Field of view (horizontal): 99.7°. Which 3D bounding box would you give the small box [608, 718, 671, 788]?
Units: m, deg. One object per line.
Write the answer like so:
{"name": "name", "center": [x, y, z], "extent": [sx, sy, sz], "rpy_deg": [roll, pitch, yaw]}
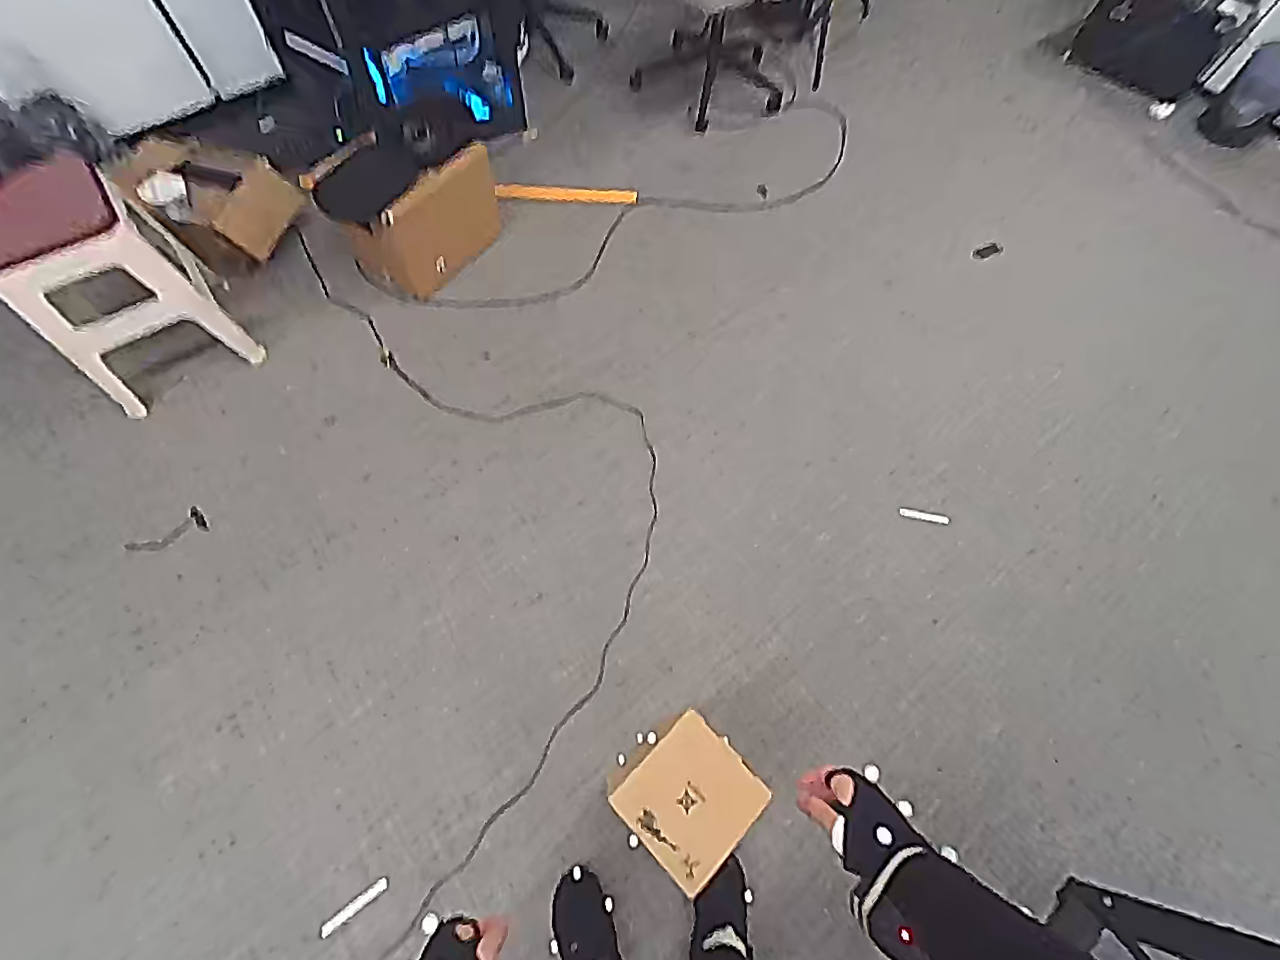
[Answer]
{"name": "small box", "center": [0.047, 0.626, 1.136], "extent": [0.179, 0.176, 0.168], "rpy_deg": [-38, 72, -18]}

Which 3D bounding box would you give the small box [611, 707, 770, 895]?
{"name": "small box", "center": [0.067, 0.484, 0.841], "extent": [0.179, 0.176, 0.168], "rpy_deg": [-41, 72, -21]}
